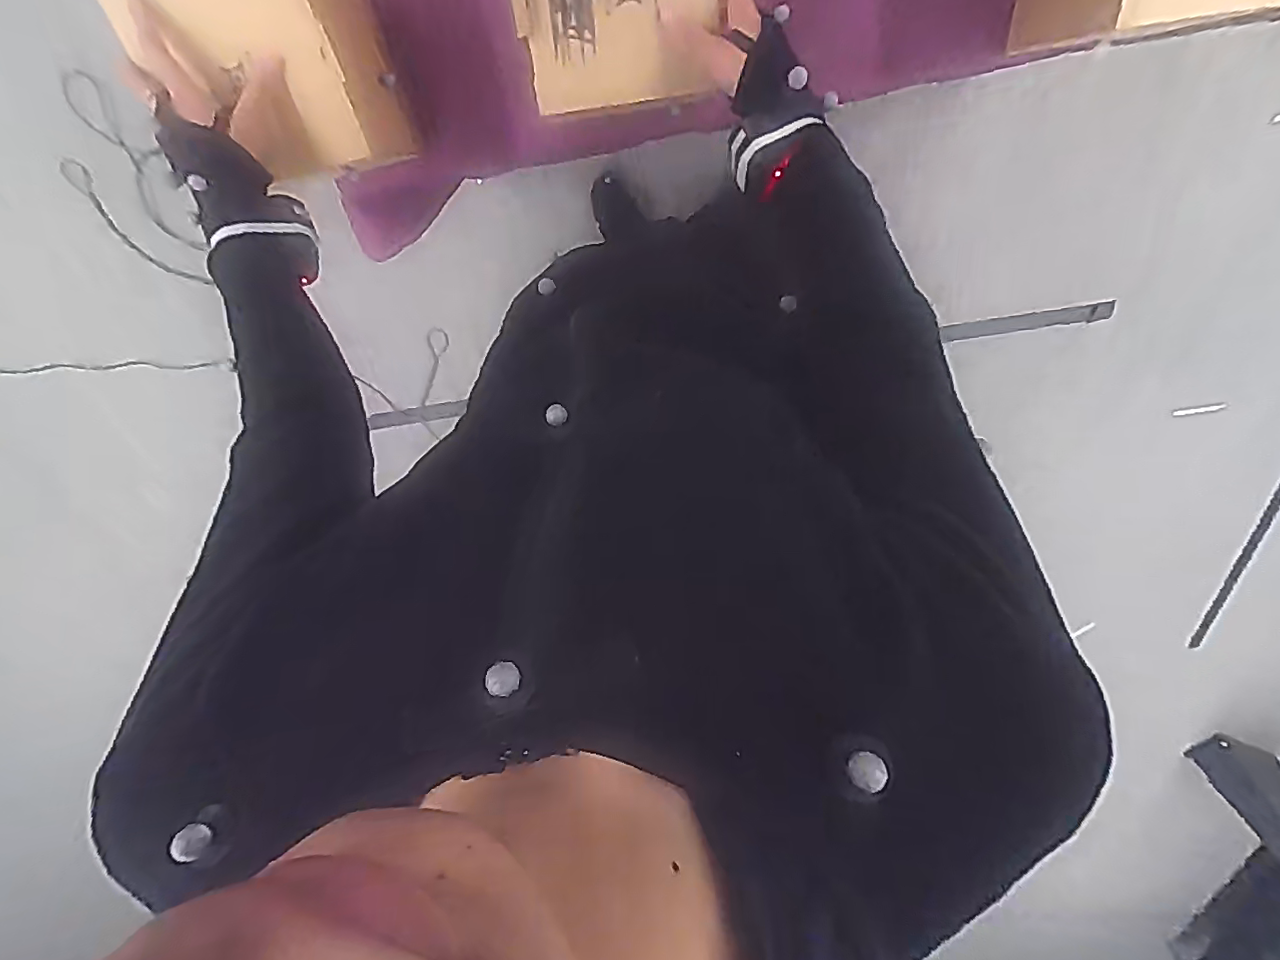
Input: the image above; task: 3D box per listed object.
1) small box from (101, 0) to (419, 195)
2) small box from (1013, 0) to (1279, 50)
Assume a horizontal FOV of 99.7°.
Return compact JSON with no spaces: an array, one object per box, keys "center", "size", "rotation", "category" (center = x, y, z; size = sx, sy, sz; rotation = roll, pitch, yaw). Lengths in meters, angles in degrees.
[{"center":[-0.362,-0.406,0.557],"size":[0.179,0.176,0.168],"rotation":[-12,121,4],"category":"small box"},{"center":[0.492,-0.532,0.504],"size":[0.168,0.176,0.179],"rotation":[-7,123,3],"category":"small box"}]
